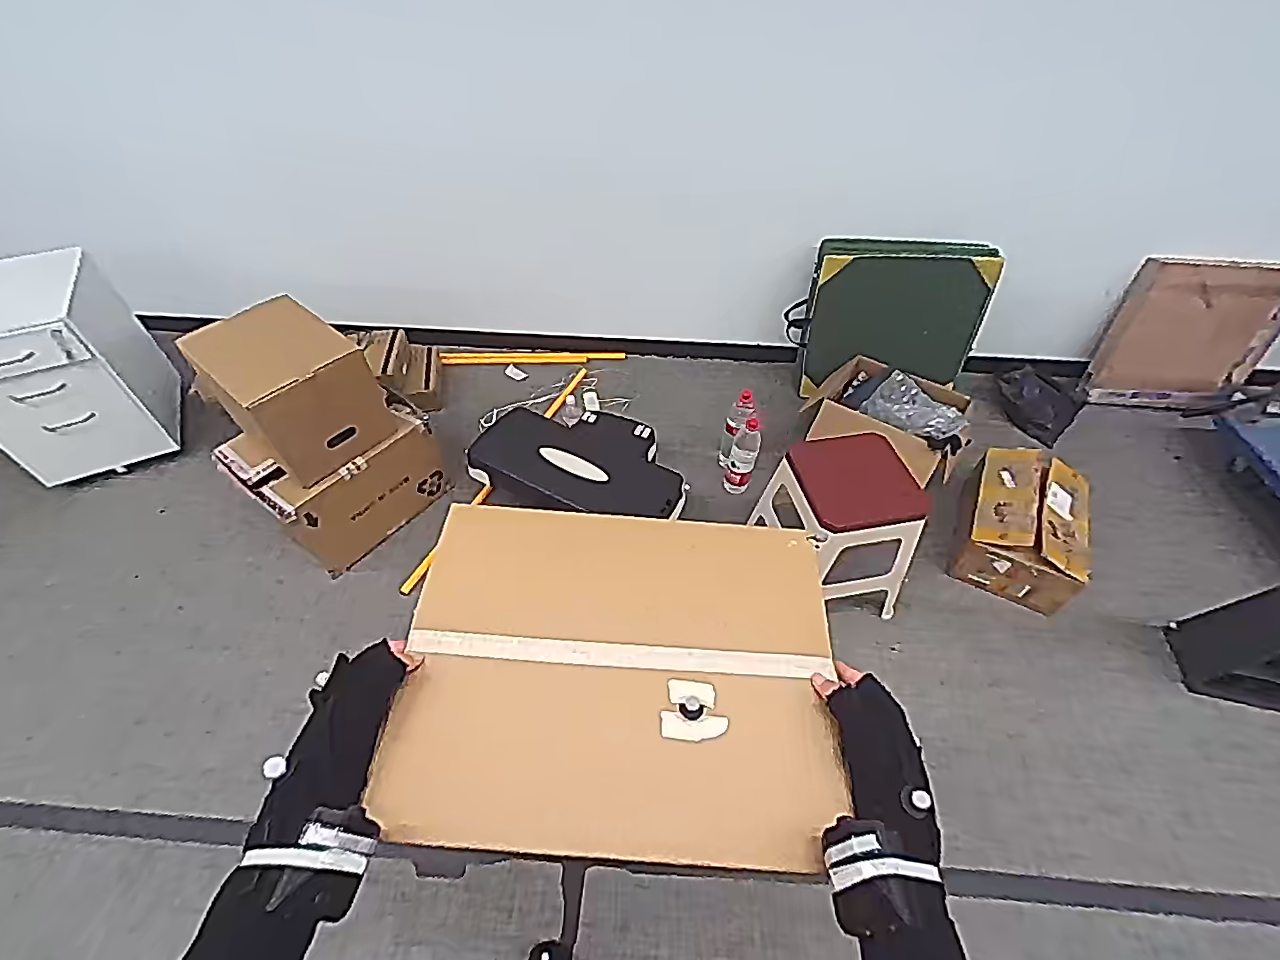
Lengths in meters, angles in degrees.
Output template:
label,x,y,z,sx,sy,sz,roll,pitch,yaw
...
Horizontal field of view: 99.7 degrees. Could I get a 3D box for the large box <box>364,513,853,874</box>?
label,x,y,z,sx,sy,sz,roll,pitch,yaw
large box,-0.026,0.261,0.638,0.408,0.320,0.320,5,54,0
